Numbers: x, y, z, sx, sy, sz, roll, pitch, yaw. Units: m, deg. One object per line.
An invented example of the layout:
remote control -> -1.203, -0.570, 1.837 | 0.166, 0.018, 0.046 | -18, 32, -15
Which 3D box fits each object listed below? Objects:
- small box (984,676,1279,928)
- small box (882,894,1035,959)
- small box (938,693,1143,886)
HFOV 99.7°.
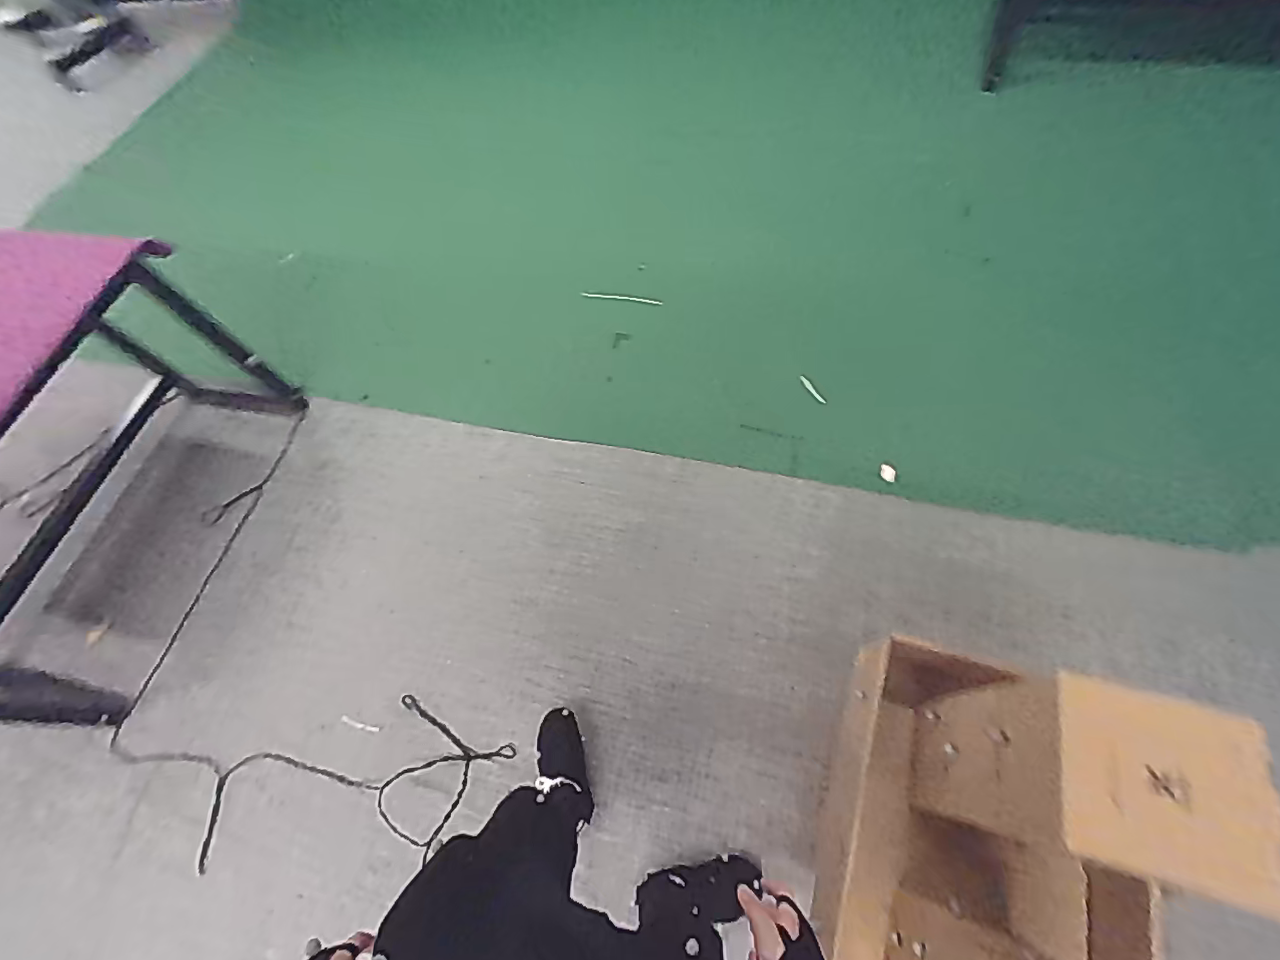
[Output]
small box -> 0.505, 0.327, 0.579 | 0.179, 0.176, 0.168 | 14, 65, 14
small box -> 0.456, 0.723, 0.758 | 0.179, 0.176, 0.168 | 16, 67, 17
small box -> 0.528, 0.400, 0.723 | 0.179, 0.176, 0.168 | 13, 65, 14
